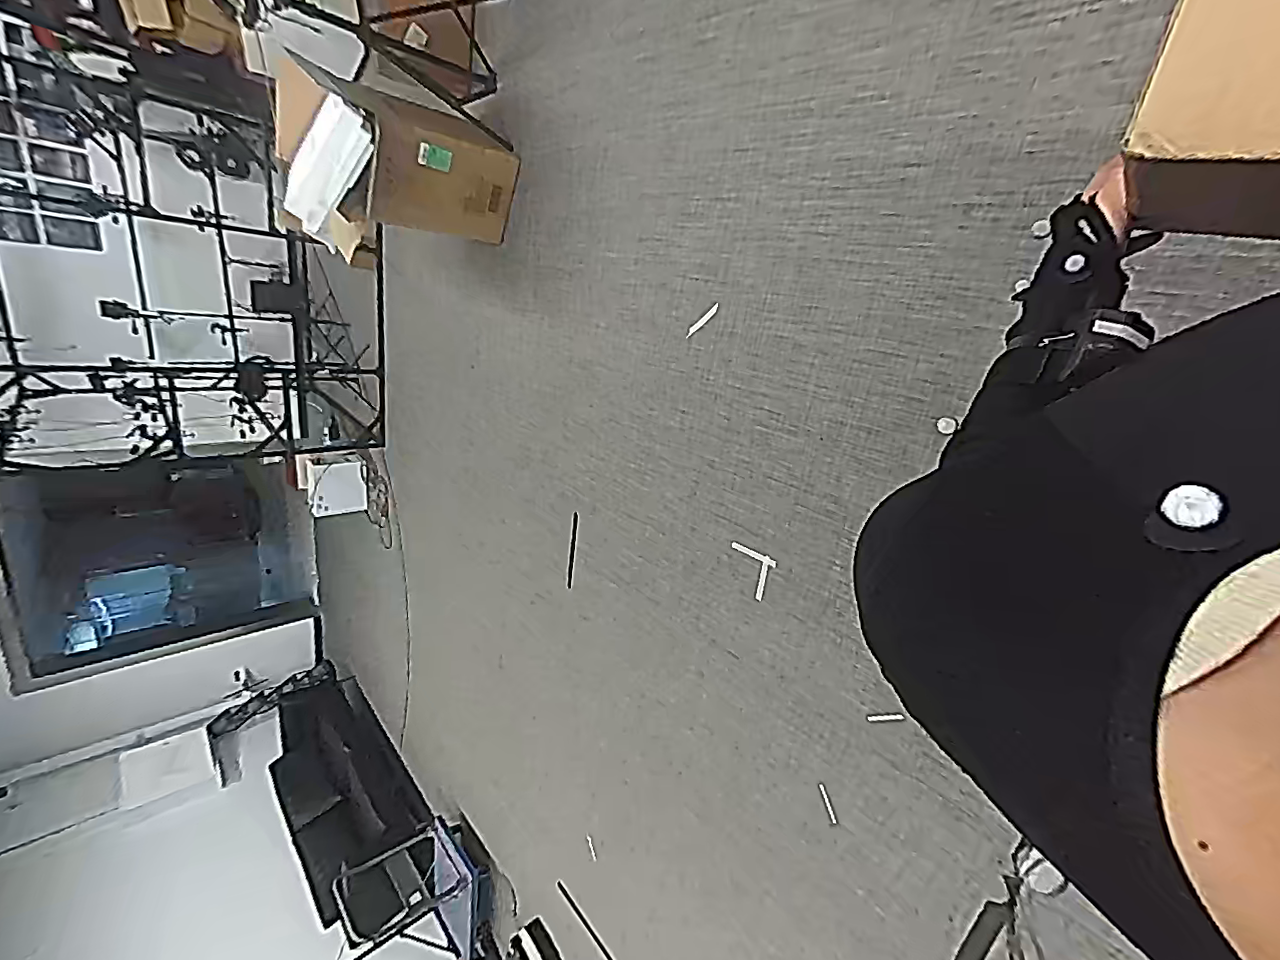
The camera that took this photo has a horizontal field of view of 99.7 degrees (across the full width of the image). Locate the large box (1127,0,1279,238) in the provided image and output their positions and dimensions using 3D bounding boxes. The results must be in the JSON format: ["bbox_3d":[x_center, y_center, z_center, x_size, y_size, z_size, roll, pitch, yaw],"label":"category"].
[{"bbox_3d":[0.492,-0.264,0.196,0.408,0.320,0.320,24,119,34],"label":"large box"}]
